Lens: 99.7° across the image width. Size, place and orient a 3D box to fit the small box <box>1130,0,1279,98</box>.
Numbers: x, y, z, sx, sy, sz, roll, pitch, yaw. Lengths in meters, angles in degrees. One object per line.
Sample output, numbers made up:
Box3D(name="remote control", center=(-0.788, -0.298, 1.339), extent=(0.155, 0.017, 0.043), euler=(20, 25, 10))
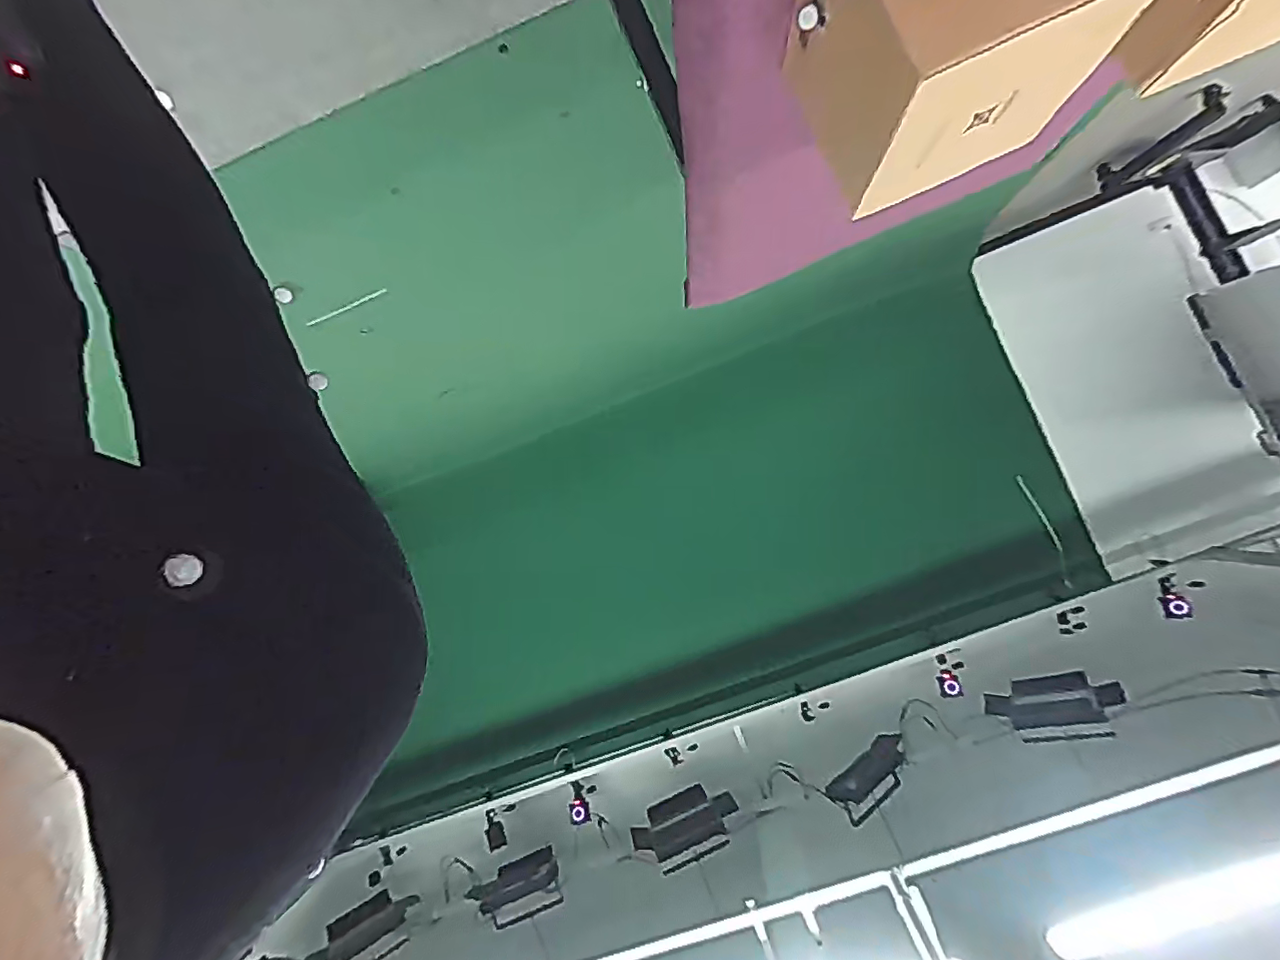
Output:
Box3D(name="small box", center=(0.498, -0.447, 0.398), extent=(0.179, 0.176, 0.168), euler=(-20, 175, 4))

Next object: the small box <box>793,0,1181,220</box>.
Box3D(name="small box", center=(0.242, -0.347, 0.412), extent=(0.179, 0.176, 0.168), euler=(-22, 174, 4))
